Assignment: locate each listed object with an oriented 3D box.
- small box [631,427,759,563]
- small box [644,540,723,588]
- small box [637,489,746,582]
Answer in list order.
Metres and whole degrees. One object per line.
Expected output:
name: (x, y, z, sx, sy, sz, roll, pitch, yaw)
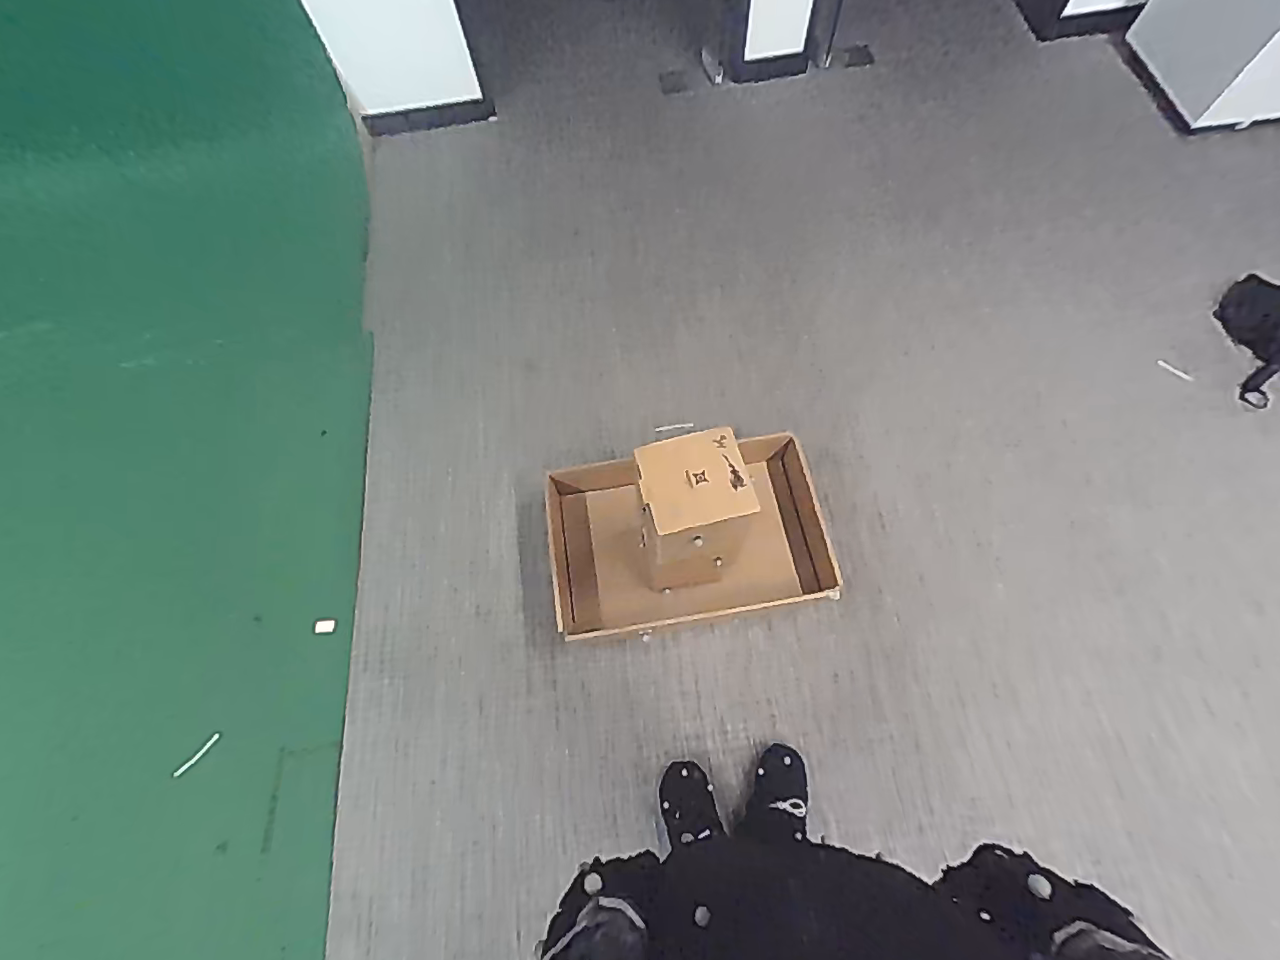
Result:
small box: (0.093, 0.034, 0.972, 0.179, 0.176, 0.168, -16, 64, -6)
small box: (0.095, 0.150, 1.274, 0.168, 0.176, 0.179, -10, 66, -2)
small box: (0.097, 0.094, 1.104, 0.179, 0.176, 0.168, -15, 67, -5)
